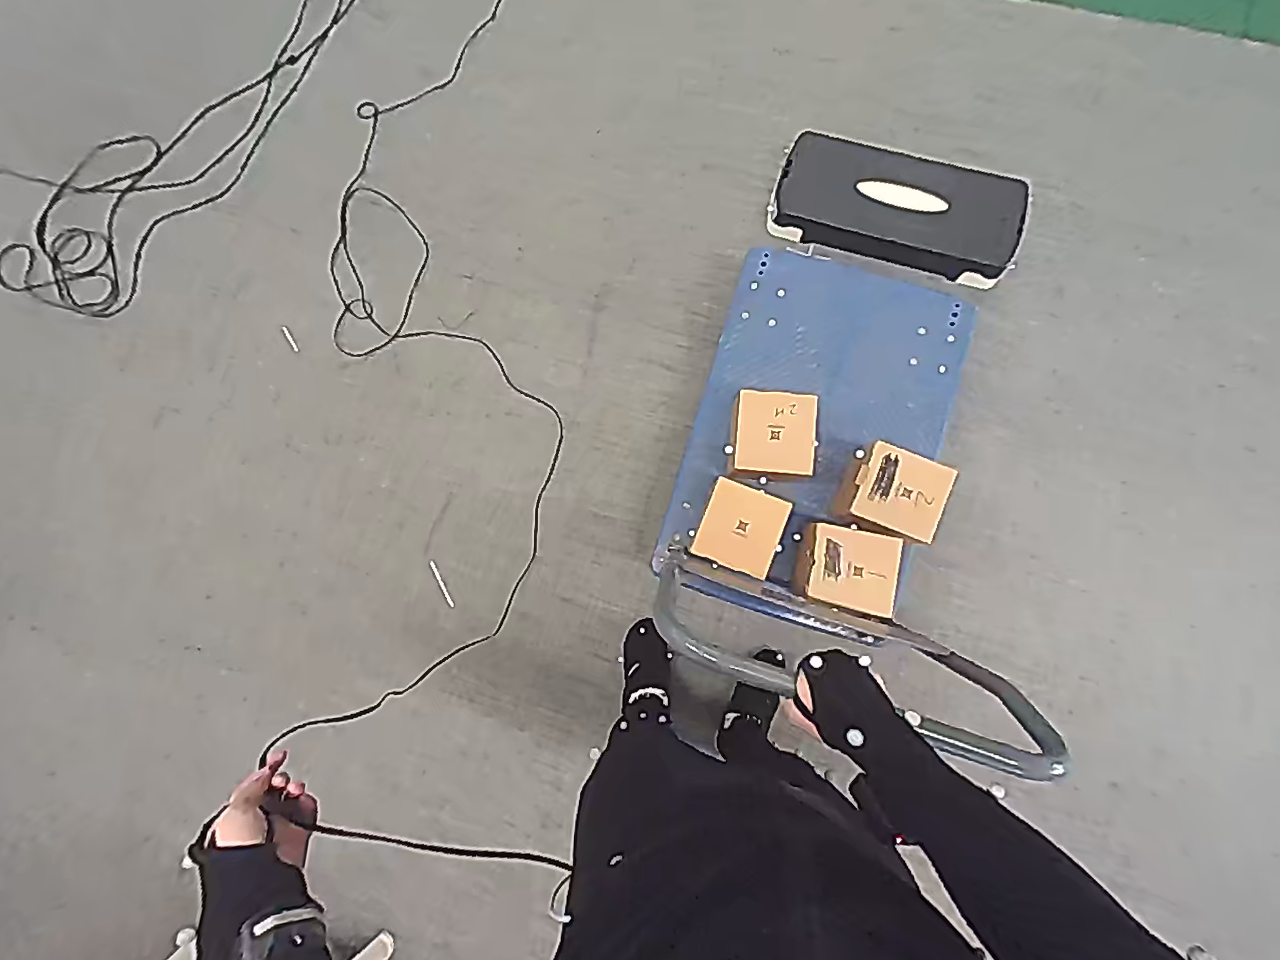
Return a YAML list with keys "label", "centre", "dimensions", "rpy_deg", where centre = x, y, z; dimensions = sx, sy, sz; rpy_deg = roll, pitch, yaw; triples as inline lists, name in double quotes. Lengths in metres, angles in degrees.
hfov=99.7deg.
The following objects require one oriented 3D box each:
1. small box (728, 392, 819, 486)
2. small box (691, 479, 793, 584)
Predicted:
- label: "small box"
  centre: [0.294, -0.085, 1.222]
  dimensions: [0.168, 0.176, 0.179]
  rpy_deg: [6, 83, 3]
- label: "small box"
  centre: [0.217, 0.115, 1.205]
  dimensions: [0.168, 0.176, 0.179]
  rpy_deg: [22, 86, 5]
